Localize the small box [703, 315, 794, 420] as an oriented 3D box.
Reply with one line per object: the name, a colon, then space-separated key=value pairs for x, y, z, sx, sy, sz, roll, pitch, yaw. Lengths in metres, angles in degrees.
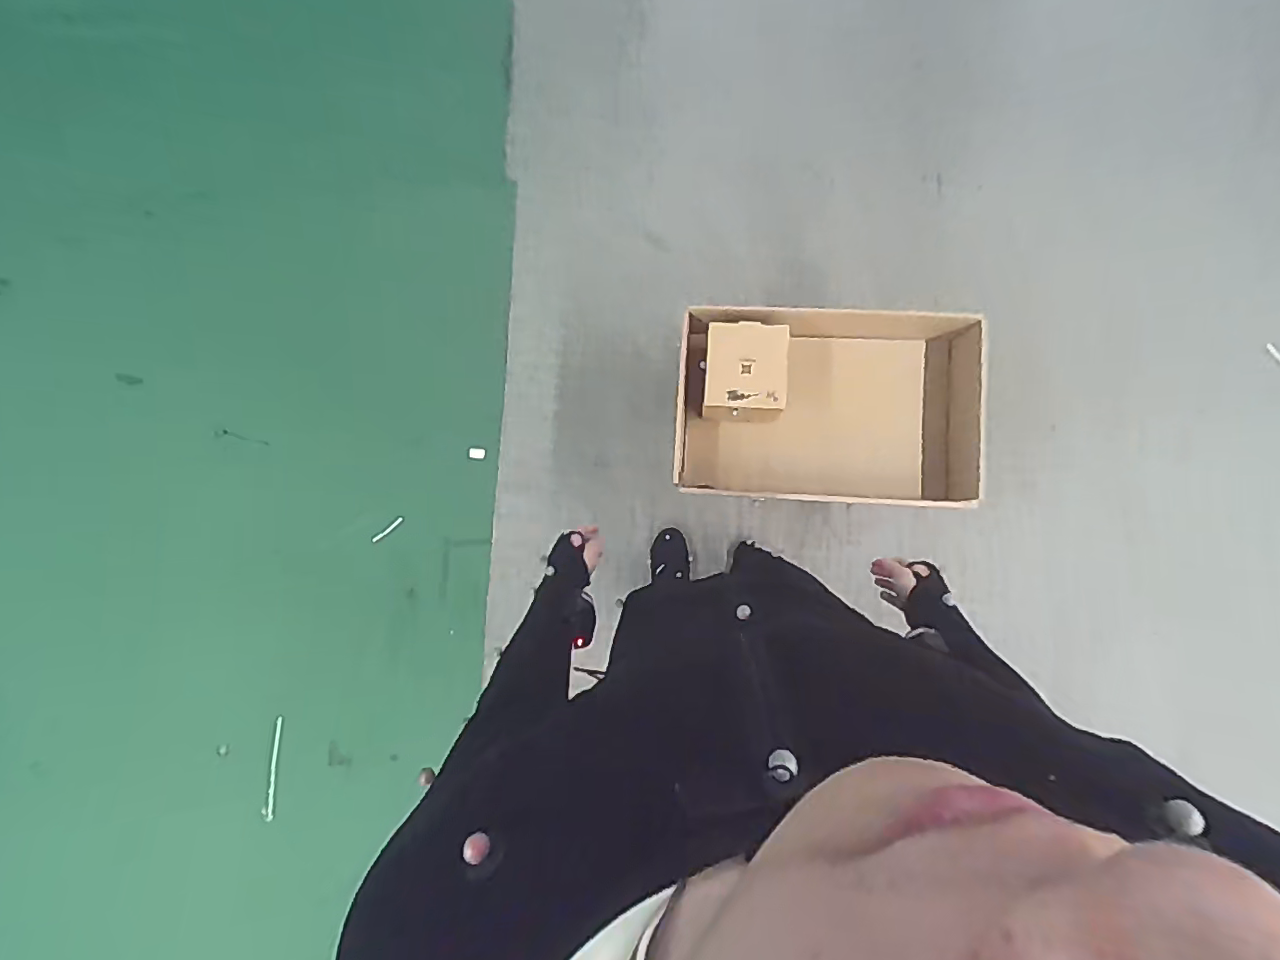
small box: x=0.226 y=-0.236 z=1.164 sx=0.168 sy=0.176 sz=0.179 roll=5 pitch=86 yaw=4
